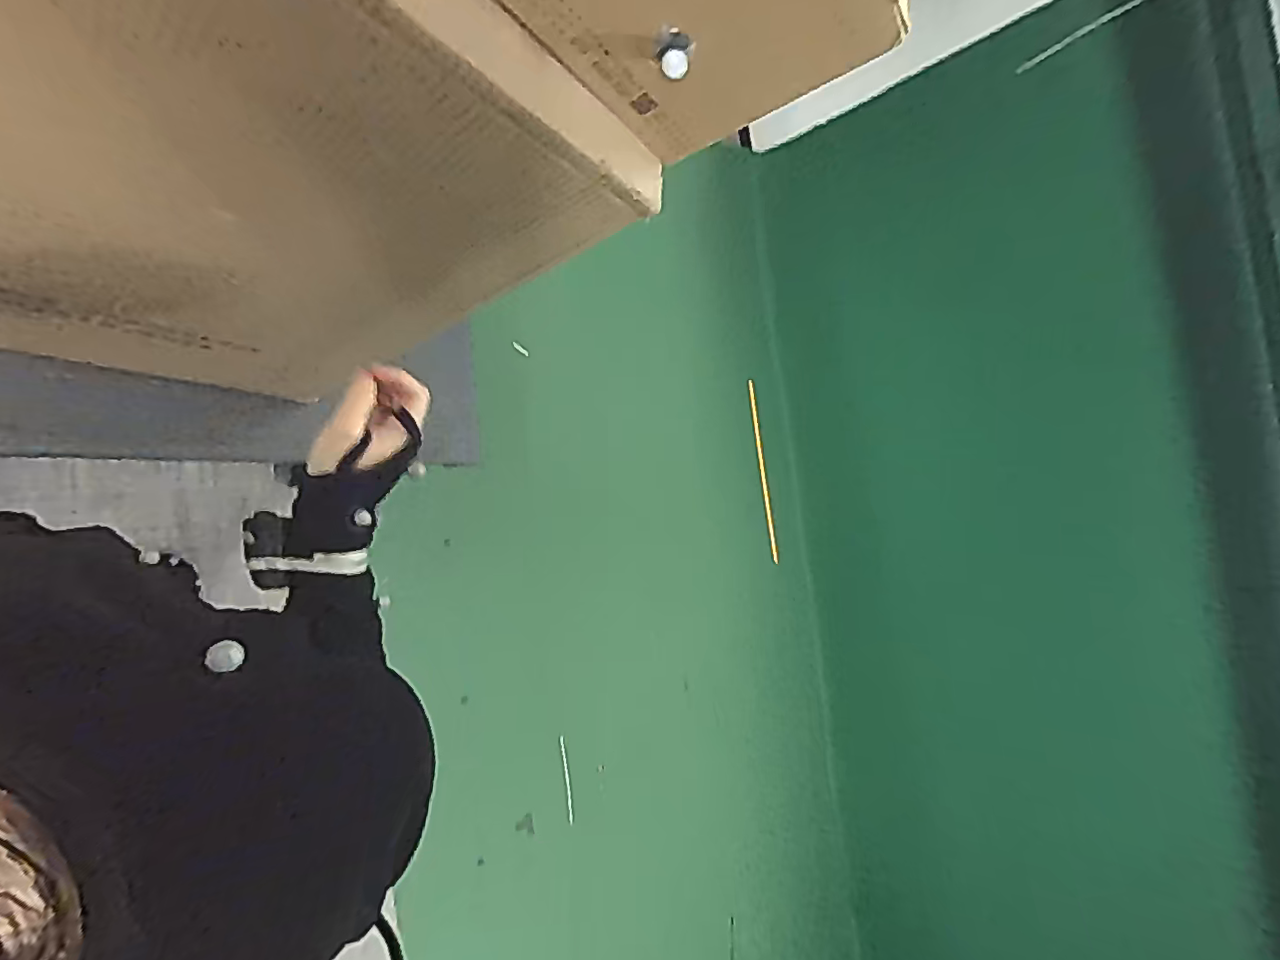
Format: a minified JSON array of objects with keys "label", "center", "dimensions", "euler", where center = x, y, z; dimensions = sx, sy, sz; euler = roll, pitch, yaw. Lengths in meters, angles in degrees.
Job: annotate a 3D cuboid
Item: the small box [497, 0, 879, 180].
[{"label":"small box","center":[0.029,-0.323,0.316],"dimensions":[0.168,0.176,0.179],"euler":[6,80,-55]}]
